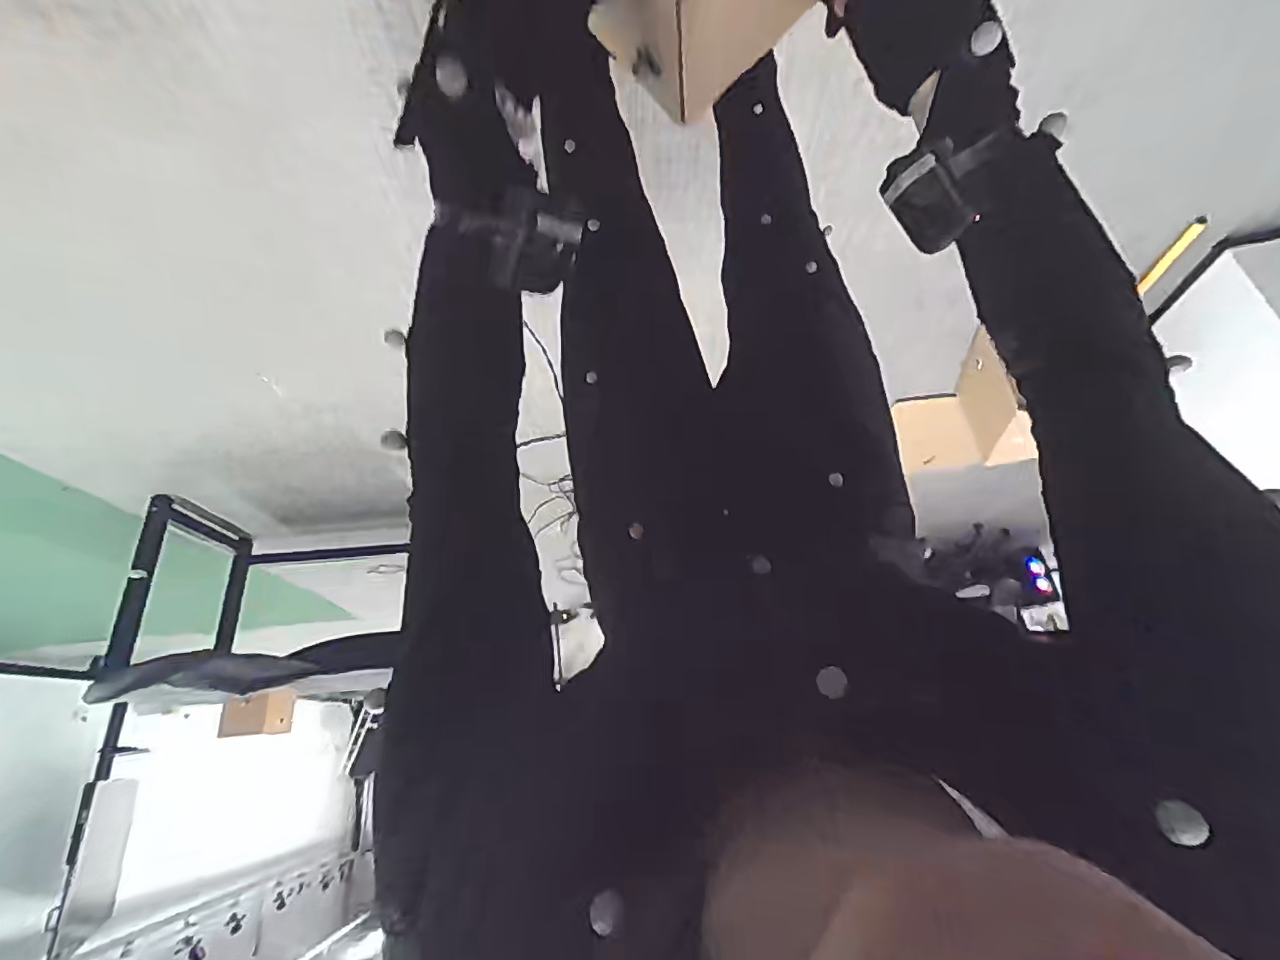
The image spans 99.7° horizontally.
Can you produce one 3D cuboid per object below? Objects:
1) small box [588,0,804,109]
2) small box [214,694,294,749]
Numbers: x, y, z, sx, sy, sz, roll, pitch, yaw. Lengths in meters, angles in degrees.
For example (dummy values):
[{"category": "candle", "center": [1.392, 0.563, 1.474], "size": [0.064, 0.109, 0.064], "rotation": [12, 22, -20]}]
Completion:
[{"category": "small box", "center": [0.027, -0.374, 0.297], "size": [0.168, 0.176, 0.179], "rotation": [-40, 176, 4]}, {"category": "small box", "center": [-1.419, 0.892, 2.001], "size": [0.168, 0.176, 0.179], "rotation": [-6, 155, -3]}]
